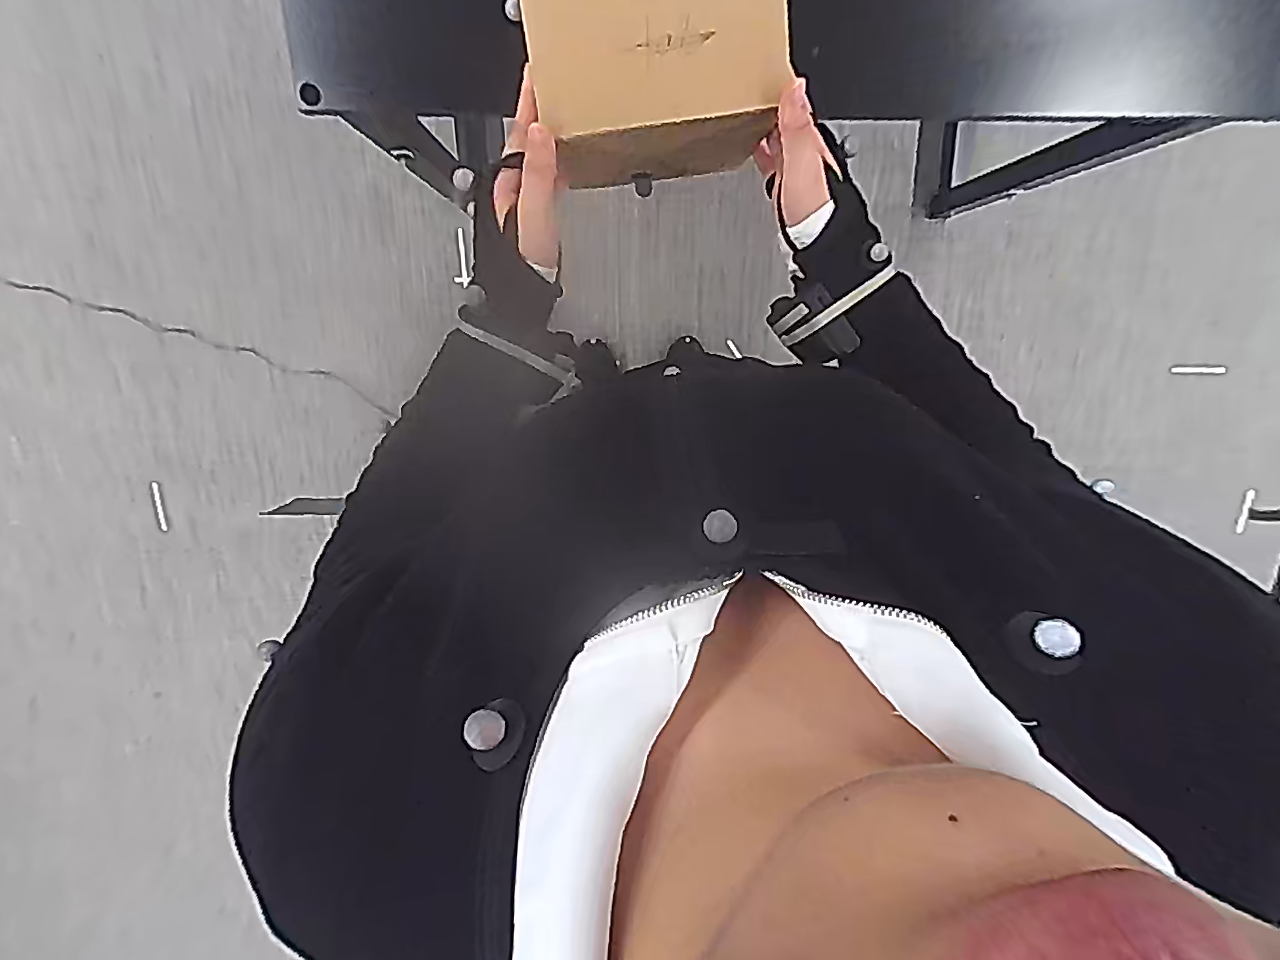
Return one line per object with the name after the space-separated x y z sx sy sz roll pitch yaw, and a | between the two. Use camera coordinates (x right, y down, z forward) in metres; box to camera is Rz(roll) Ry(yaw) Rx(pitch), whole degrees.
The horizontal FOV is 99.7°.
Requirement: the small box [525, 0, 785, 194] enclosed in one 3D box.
0.004 -0.341 0.414 0.168 0.176 0.179 -7 107 1 | small box
